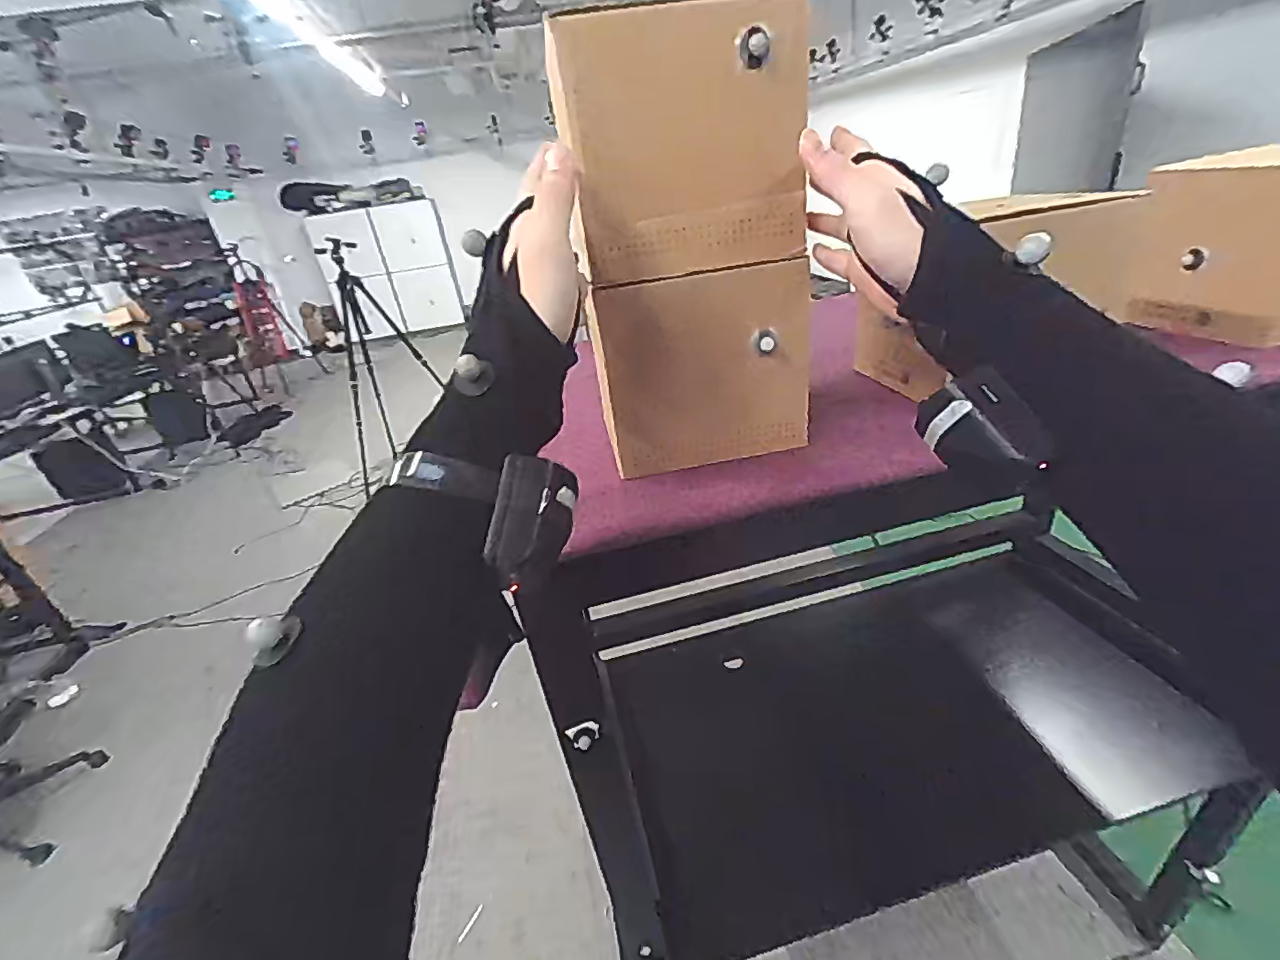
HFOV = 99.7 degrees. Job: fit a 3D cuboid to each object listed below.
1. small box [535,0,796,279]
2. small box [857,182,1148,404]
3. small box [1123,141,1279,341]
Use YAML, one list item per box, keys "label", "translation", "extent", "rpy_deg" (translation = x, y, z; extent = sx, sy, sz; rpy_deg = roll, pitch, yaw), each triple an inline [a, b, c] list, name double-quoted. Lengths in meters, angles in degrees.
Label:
- label: "small box"
  translation: [0.020, -0.270, 0.449]
  extent: [0.179, 0.176, 0.168]
  rpy_deg: [-10, 27, -4]
- label: "small box"
  translation: [0.340, -0.187, 0.546]
  extent: [0.179, 0.176, 0.168]
  rpy_deg: [-12, 27, -4]
- label: "small box"
  translation: [0.669, -0.257, 0.573]
  extent: [0.179, 0.176, 0.168]
  rpy_deg: [-13, 30, -7]
